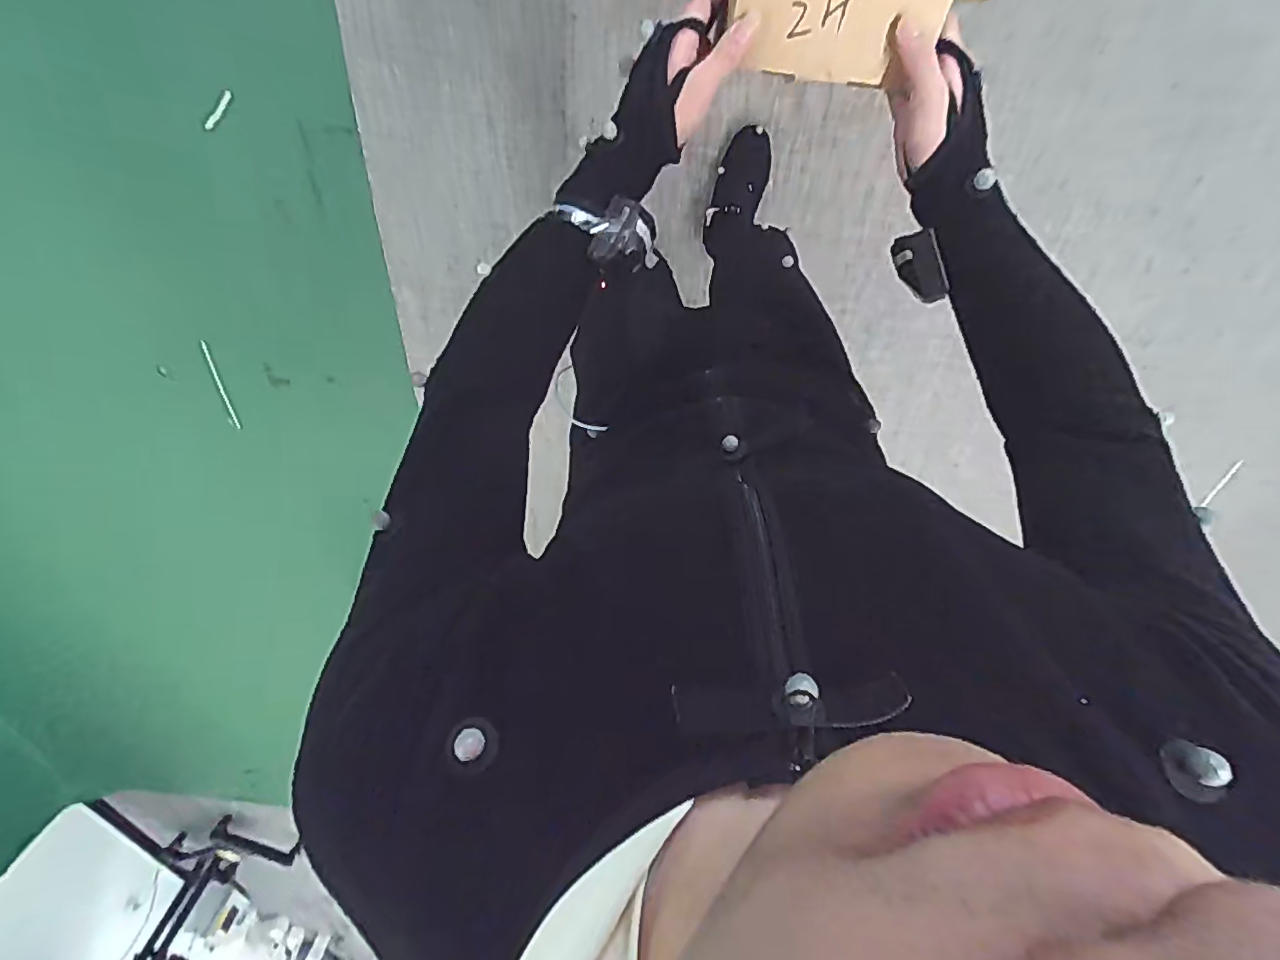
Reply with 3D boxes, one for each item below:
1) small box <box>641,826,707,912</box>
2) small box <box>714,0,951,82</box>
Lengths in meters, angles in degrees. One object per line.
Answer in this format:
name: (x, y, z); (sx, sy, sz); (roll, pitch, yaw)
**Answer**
small box: (0.109, 1.229, 1.716); (0.179, 0.176, 0.168); (12, 126, -2)
small box: (0.159, -0.453, 0.437); (0.168, 0.176, 0.179); (4, 135, -4)
